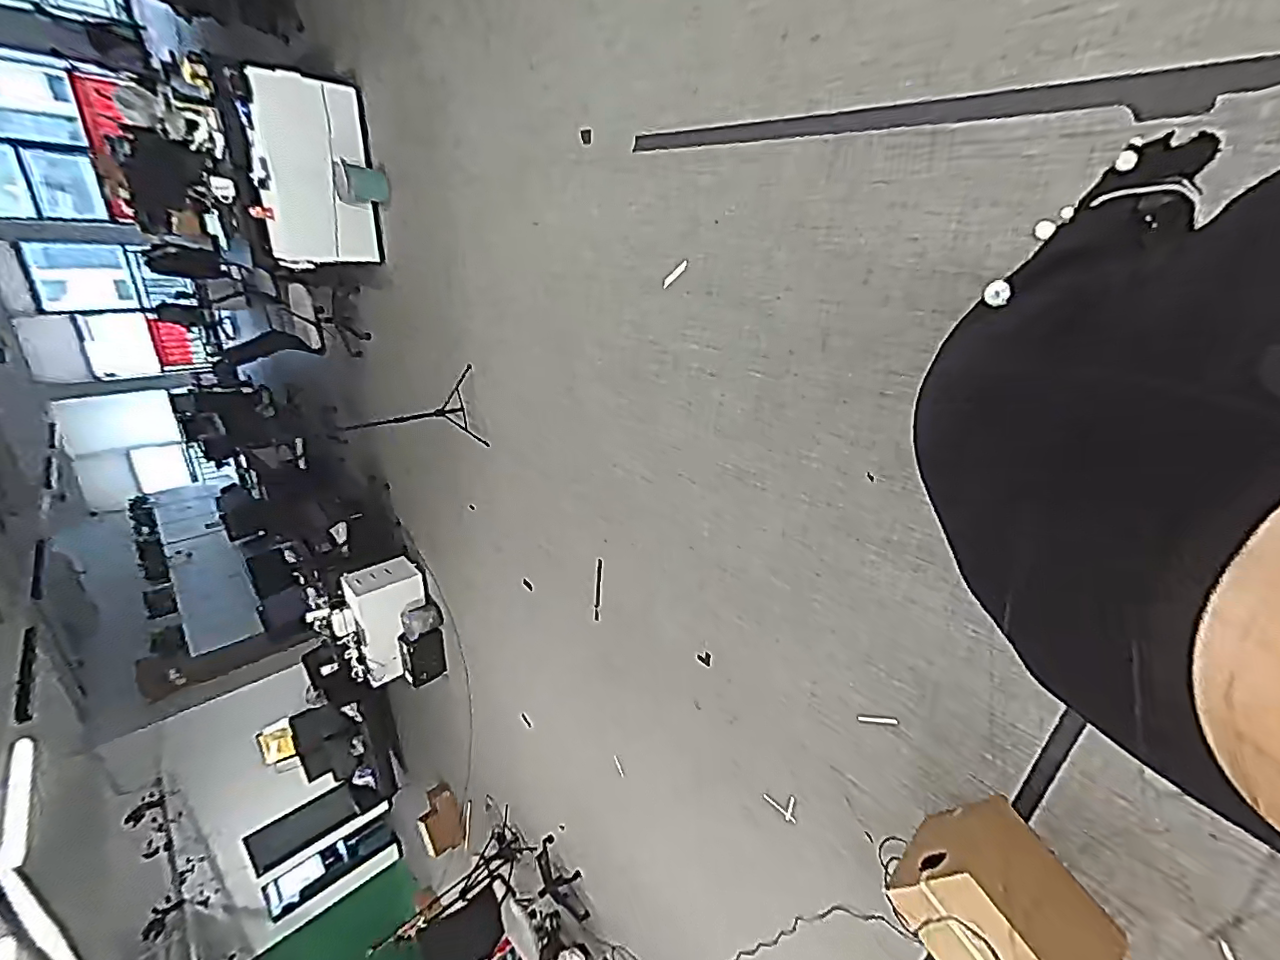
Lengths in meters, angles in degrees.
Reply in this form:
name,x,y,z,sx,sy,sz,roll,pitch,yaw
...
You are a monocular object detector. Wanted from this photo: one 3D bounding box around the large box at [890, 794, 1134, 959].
name,x,y,z,sx,sy,sz,roll,pitch,yaw
large box,0.995,1.163,1.466,0.408,0.320,0.320,52,135,23
